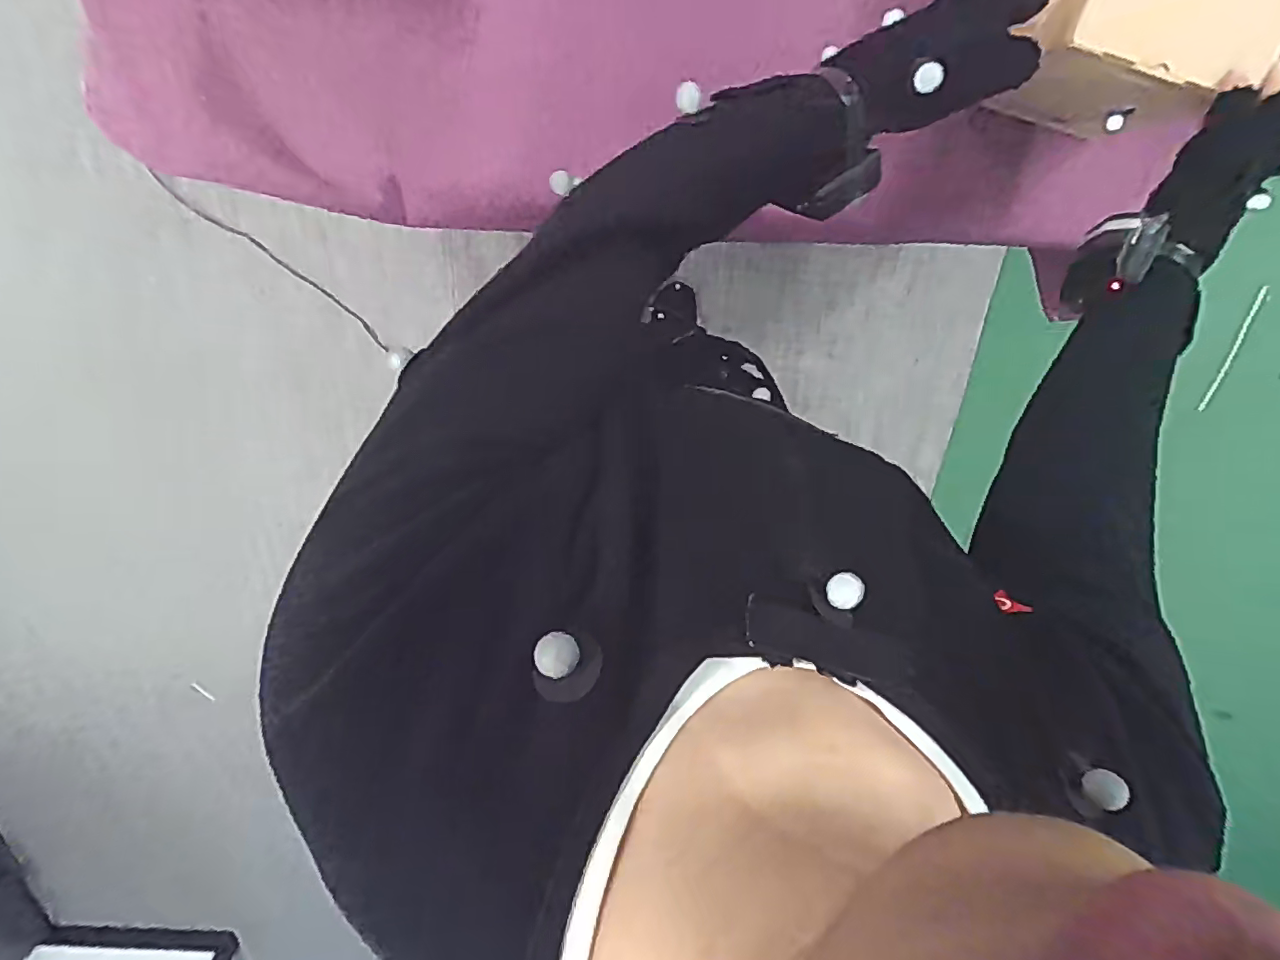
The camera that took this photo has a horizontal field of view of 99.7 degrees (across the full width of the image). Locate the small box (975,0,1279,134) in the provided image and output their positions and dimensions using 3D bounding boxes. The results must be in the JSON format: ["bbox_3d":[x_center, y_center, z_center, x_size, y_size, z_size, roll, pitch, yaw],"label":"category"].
[{"bbox_3d":[0.430,-0.423,0.461,0.168,0.176,0.179,14,113,-5],"label":"small box"}]
